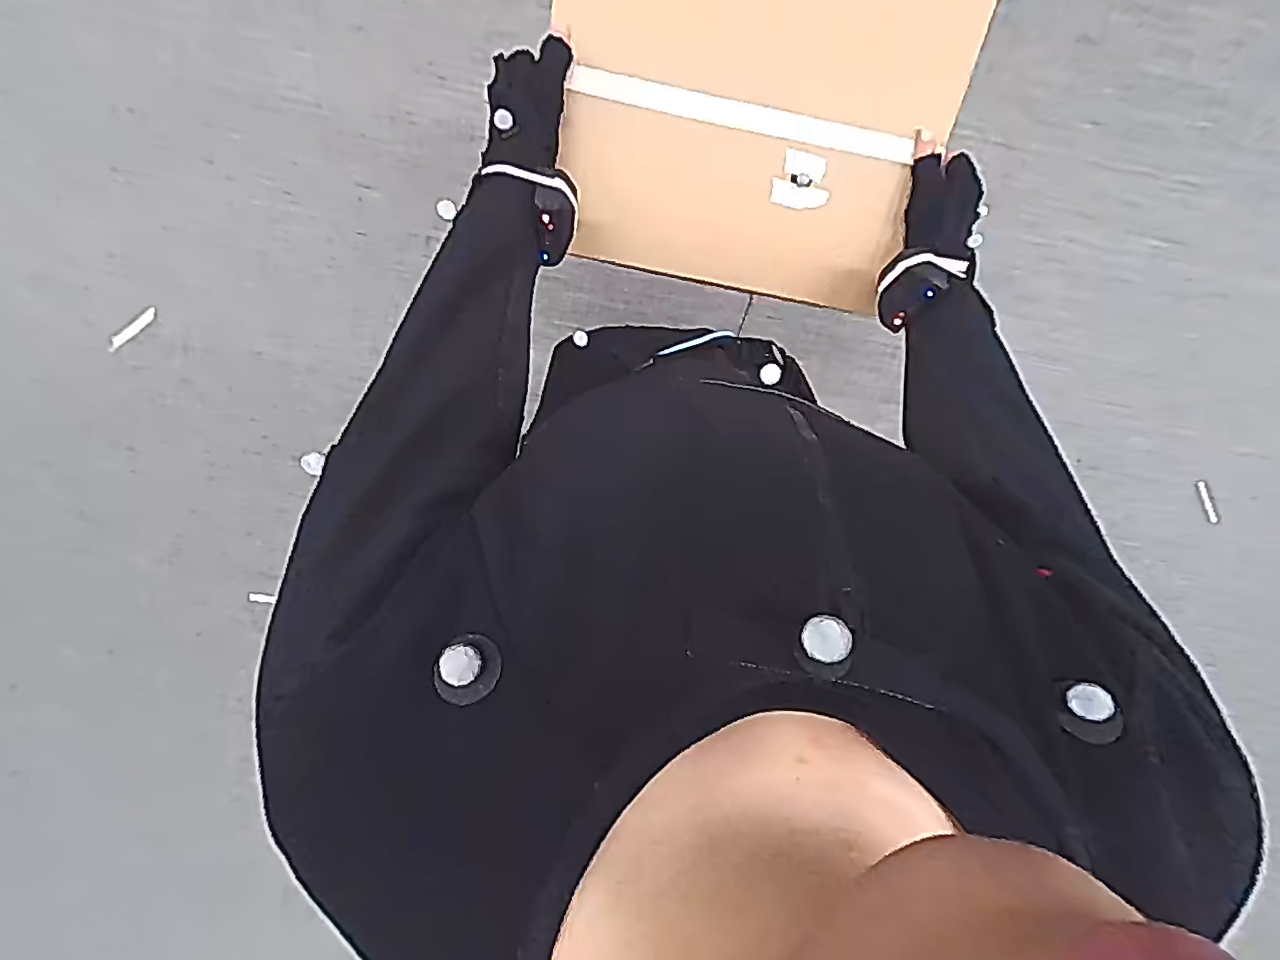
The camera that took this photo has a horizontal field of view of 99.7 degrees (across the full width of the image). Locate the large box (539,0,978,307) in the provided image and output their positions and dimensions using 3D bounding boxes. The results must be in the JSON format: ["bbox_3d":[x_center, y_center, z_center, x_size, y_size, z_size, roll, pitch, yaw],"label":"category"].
[{"bbox_3d":[0.104,-0.422,0.693,0.408,0.320,0.320,9,112,-5],"label":"large box"}]
